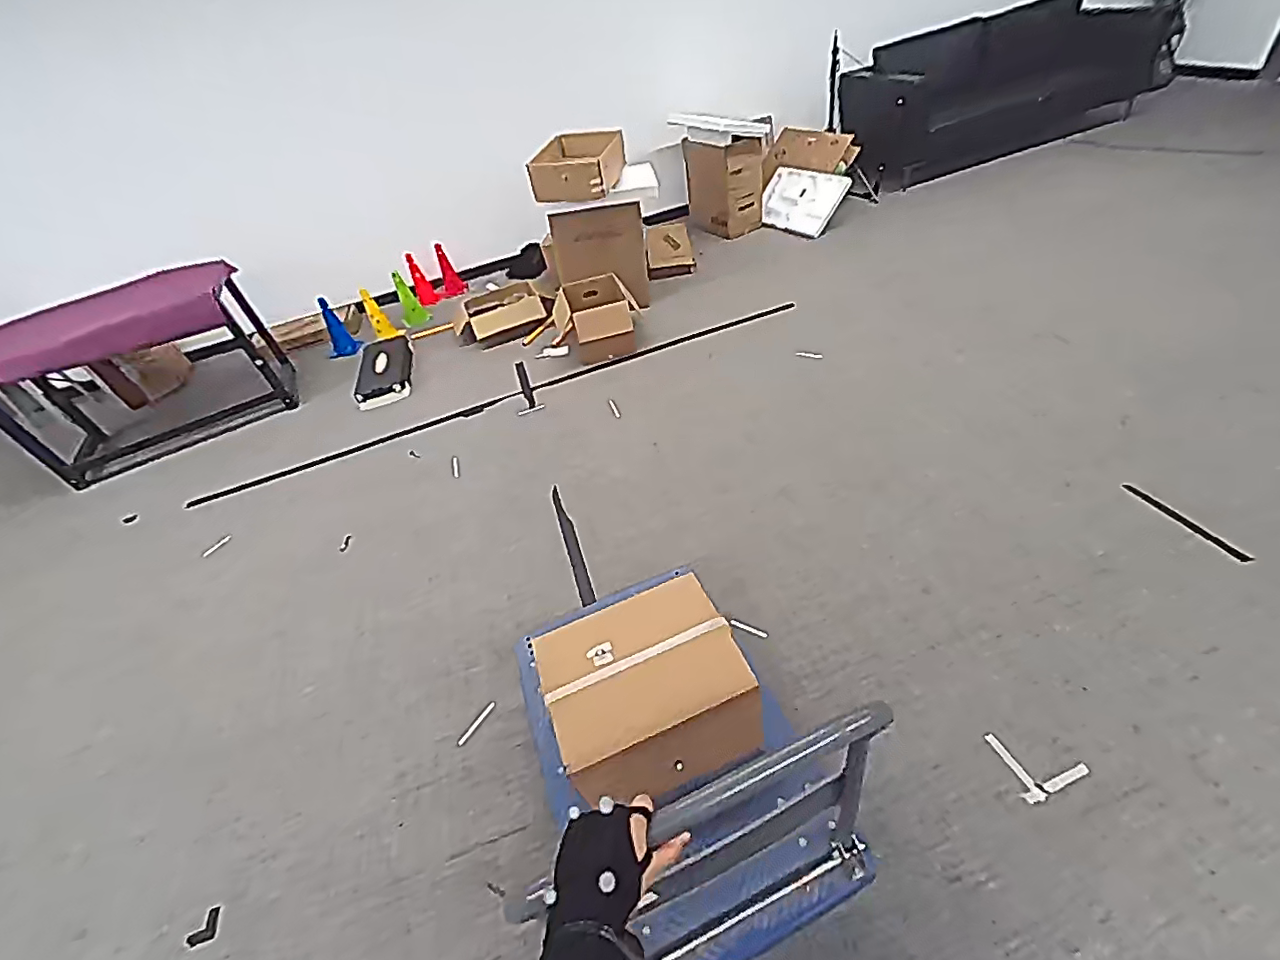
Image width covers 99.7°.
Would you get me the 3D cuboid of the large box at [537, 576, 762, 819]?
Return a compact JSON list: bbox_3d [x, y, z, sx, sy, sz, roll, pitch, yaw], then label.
[{"bbox_3d":[0.028,0.497,1.248,0.408,0.320,0.320,-23,42,-8],"label":"large box"}]
